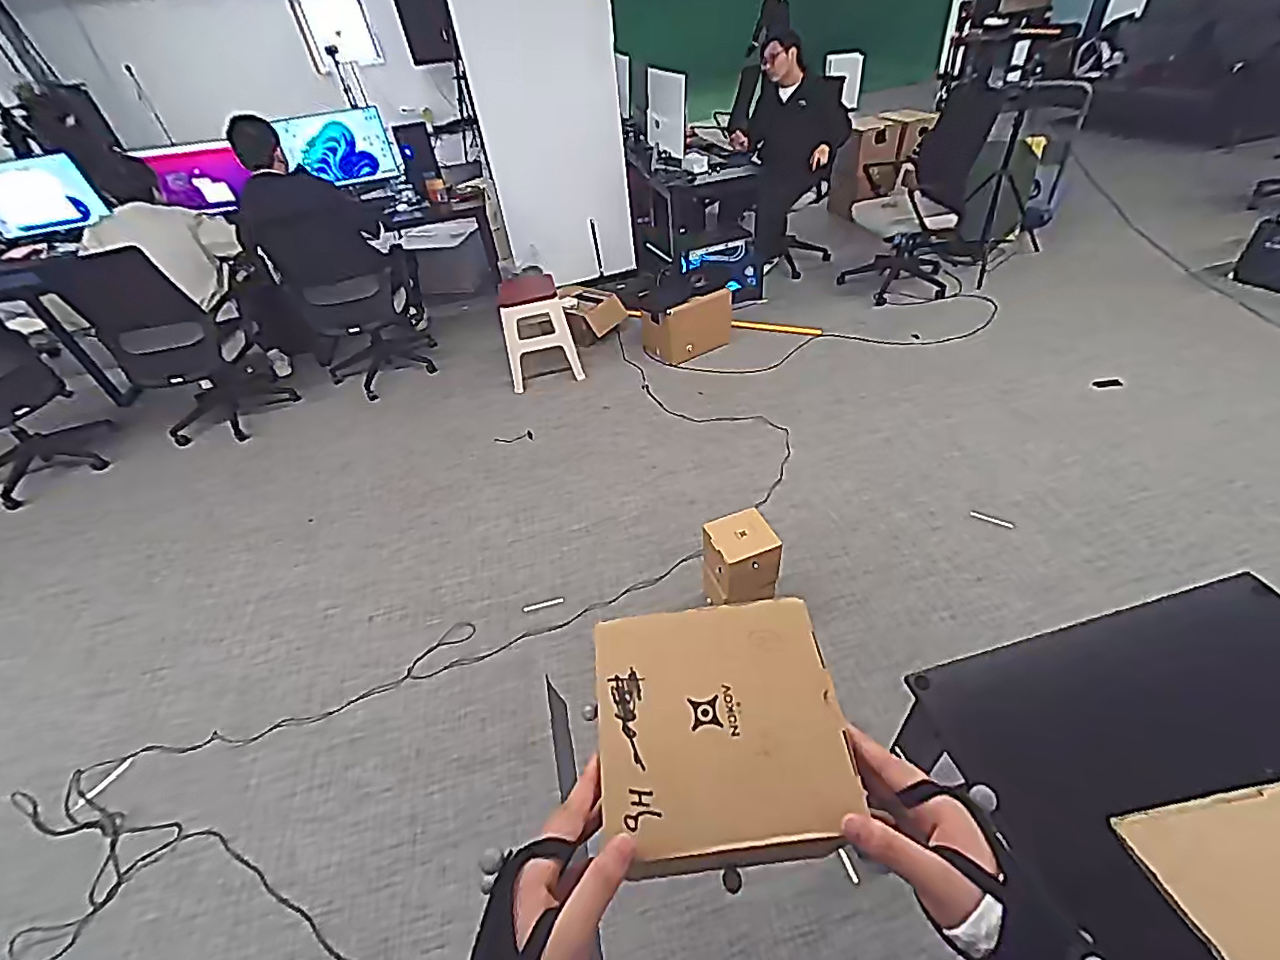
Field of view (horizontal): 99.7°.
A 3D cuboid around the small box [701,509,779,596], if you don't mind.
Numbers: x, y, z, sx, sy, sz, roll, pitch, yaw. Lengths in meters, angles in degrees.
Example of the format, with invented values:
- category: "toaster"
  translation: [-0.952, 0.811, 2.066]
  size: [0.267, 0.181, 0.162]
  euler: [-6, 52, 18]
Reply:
- category: "small box"
  translation: [0.298, 0.220, 1.628]
  size: [0.179, 0.176, 0.168]
  euler: [-18, 43, -12]

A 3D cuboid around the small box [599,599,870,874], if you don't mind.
- category: "small box"
  translation: [0.061, 0.220, 0.460]
  size: [0.179, 0.176, 0.168]
  euler: [-6, 49, -2]

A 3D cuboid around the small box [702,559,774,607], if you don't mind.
- category: "small box"
  translation: [0.309, 0.343, 1.735]
  size: [0.179, 0.176, 0.168]
  euler: [-17, 42, -9]
